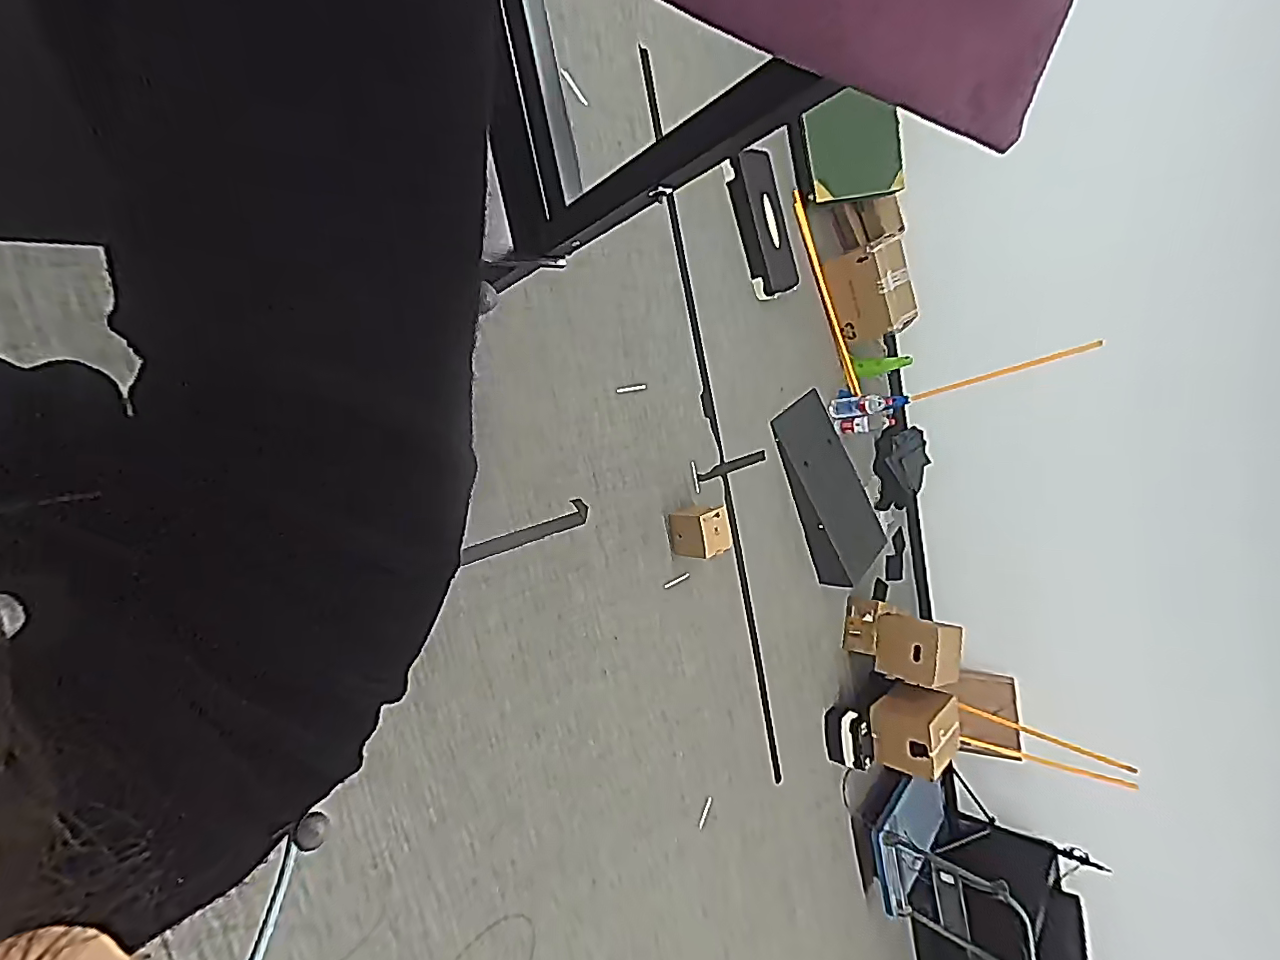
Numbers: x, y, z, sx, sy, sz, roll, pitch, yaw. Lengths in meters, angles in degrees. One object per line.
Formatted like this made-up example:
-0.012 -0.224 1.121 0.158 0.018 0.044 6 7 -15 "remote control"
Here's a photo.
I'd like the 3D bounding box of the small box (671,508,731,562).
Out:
0.247 0.216 2.193 0.168 0.176 0.179 -16 101 -42 "small box"
